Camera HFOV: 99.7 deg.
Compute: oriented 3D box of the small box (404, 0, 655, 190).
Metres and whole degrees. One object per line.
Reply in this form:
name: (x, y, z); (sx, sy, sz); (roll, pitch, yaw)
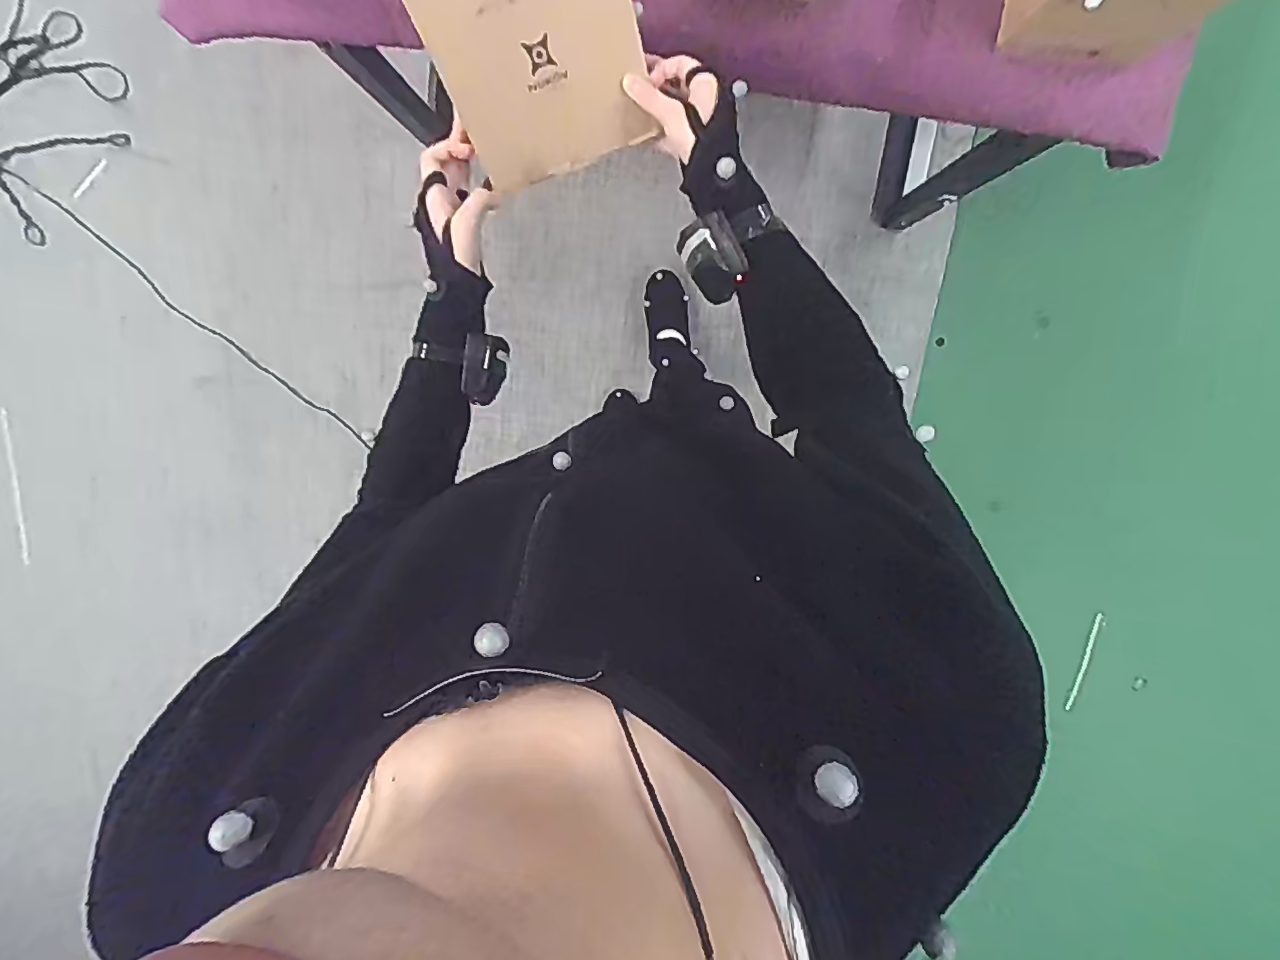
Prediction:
small box: (-0.099, -0.404, 0.477); (0.168, 0.176, 0.179); (-20, 143, 3)
